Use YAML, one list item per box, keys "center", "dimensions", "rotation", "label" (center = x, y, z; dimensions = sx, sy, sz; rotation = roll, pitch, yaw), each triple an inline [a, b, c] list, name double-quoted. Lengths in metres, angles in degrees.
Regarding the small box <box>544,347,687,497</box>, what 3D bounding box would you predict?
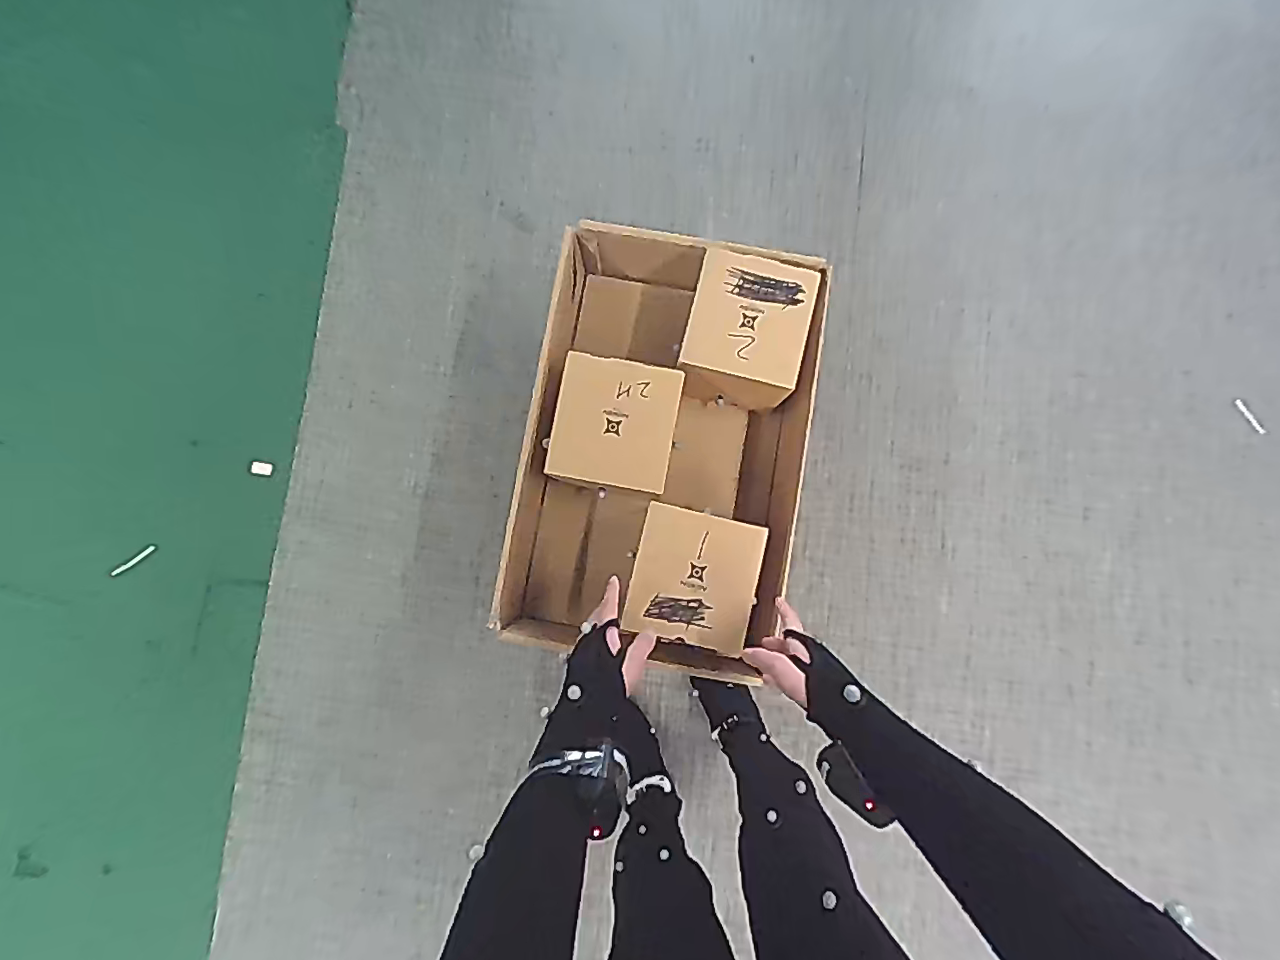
- center: [-0.031, -0.075, 0.803]
  dimensions: [0.168, 0.176, 0.179]
  rotation: [11, 86, 0]
  label: "small box"
